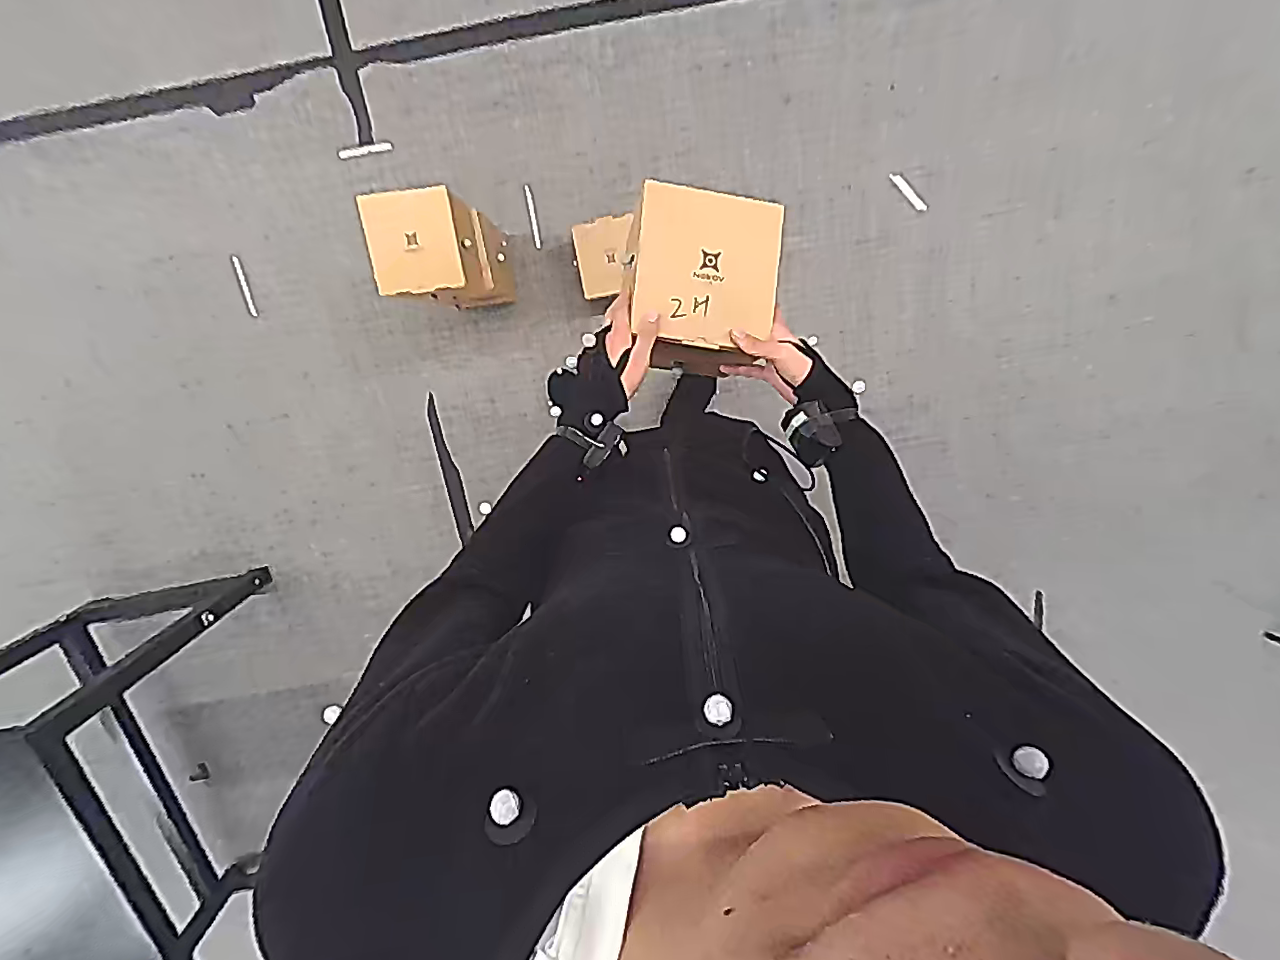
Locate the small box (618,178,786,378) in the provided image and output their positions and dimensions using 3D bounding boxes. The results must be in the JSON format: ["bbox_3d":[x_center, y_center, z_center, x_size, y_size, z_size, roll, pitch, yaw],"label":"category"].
[{"bbox_3d":[0.067,-0.238,0.681,0.168,0.176,0.179,6,90,-8],"label":"small box"}]

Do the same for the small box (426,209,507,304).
[{"bbox_3d":[-0.416,-0.498,1.225,0.179,0.176,0.168,-10,106,-1],"label":"small box"}]

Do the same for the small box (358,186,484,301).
[{"bbox_3d":[-0.420,-0.457,1.067,0.168,0.176,0.179,-8,107,-1],"label":"small box"}]

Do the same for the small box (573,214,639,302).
[{"bbox_3d":[-0.071,-0.565,1.394,0.168,0.176,0.179,-11,107,2],"label":"small box"}]
